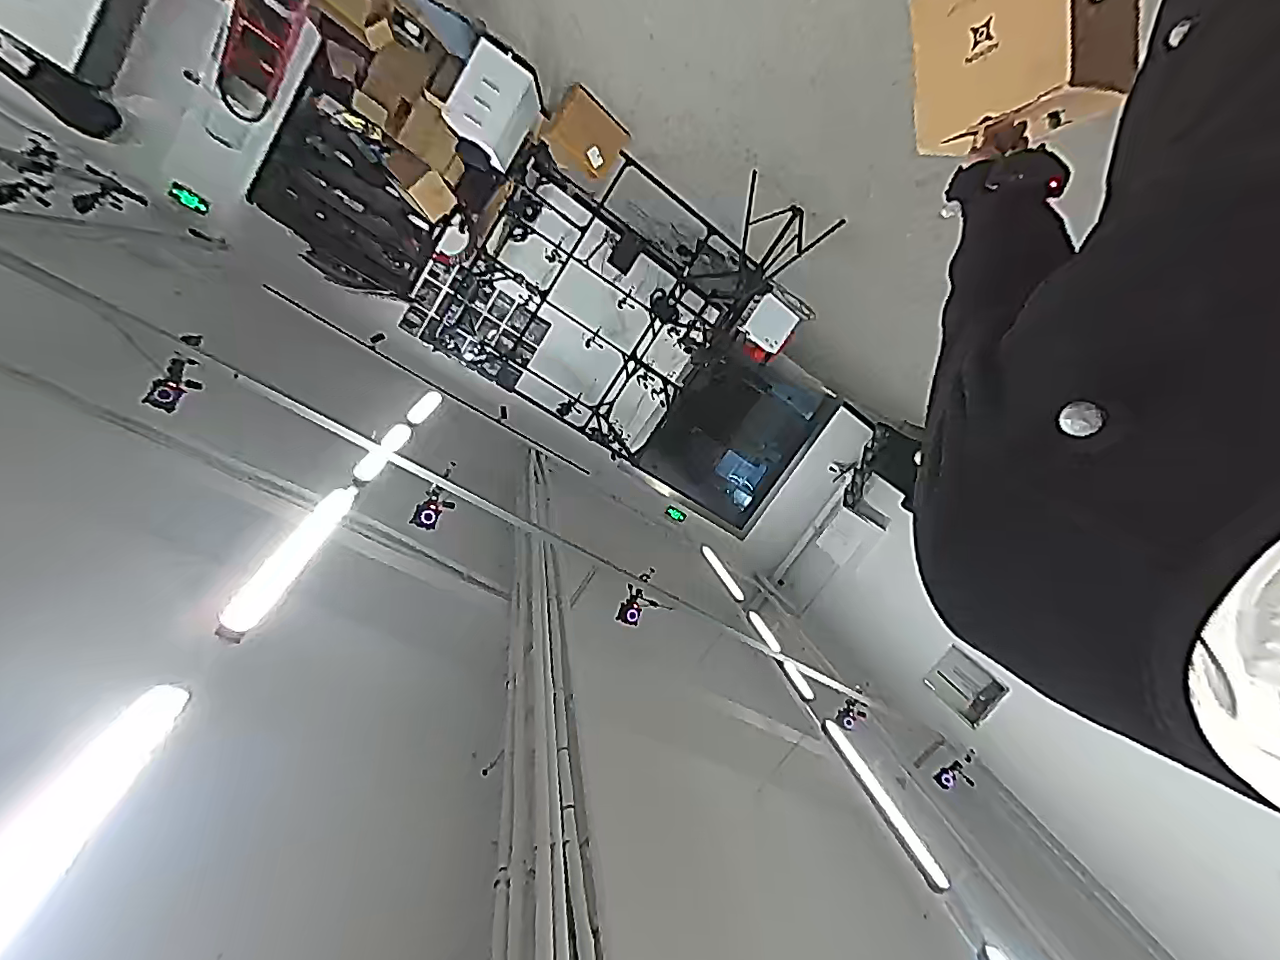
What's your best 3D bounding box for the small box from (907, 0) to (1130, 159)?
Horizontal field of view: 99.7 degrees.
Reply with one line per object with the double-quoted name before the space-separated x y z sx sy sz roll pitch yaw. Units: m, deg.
"small box" 0.448 -0.506 0.641 0.176 0.179 0.168 -17 -166 -30
